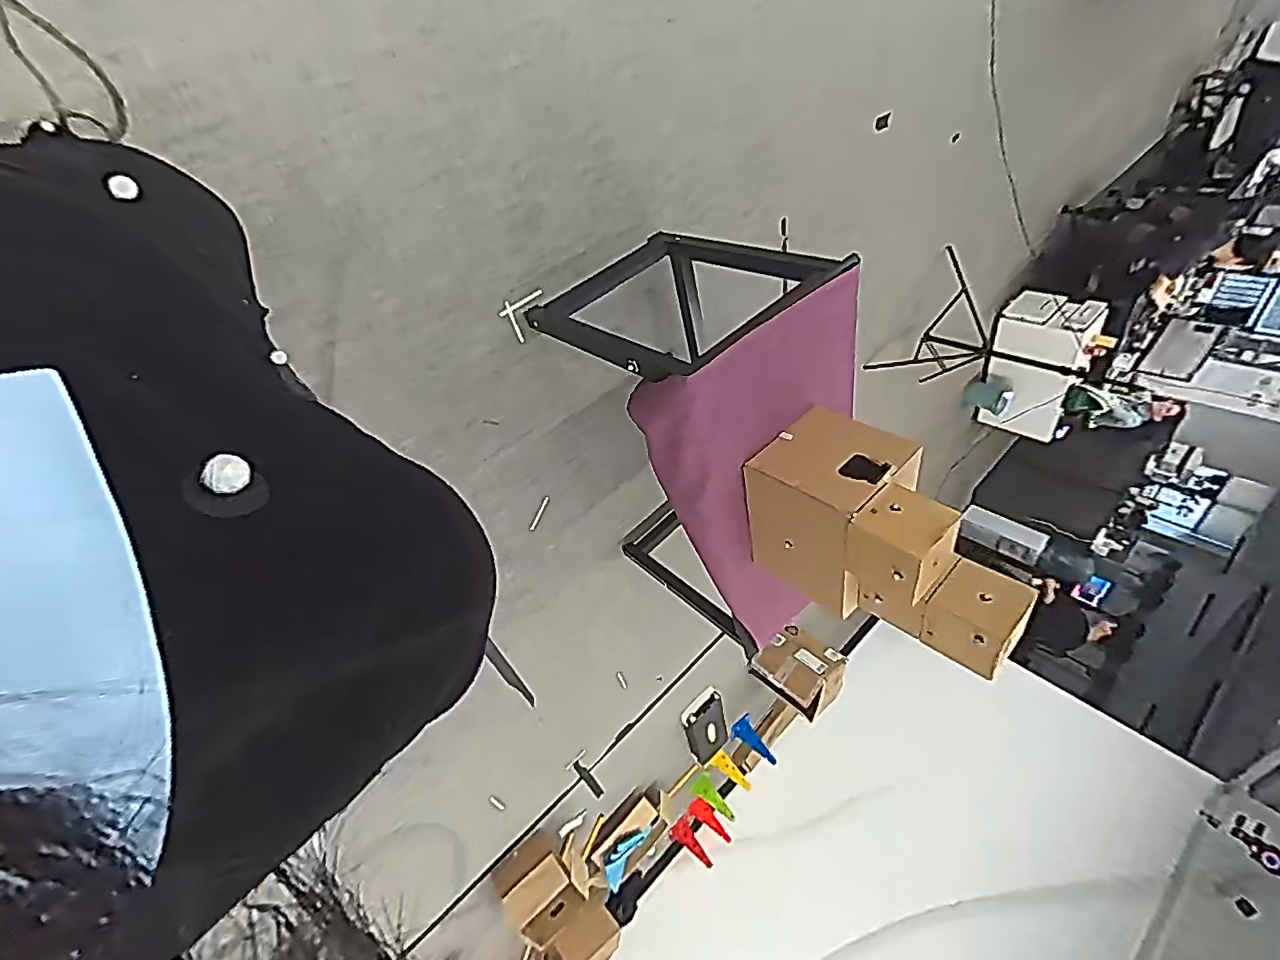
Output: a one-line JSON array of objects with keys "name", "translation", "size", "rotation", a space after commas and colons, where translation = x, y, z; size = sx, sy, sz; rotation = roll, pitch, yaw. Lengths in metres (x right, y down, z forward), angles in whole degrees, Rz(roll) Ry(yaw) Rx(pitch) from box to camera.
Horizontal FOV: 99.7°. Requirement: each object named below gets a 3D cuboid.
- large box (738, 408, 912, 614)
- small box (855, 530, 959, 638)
[{"name": "large box", "translation": [0.498, 0.079, 1.477], "size": [0.320, 0.320, 0.408], "rotation": [-39, 135, -24]}, {"name": "small box", "translation": [0.681, 0.259, 1.390], "size": [0.179, 0.176, 0.168], "rotation": [-38, 134, -23]}]
